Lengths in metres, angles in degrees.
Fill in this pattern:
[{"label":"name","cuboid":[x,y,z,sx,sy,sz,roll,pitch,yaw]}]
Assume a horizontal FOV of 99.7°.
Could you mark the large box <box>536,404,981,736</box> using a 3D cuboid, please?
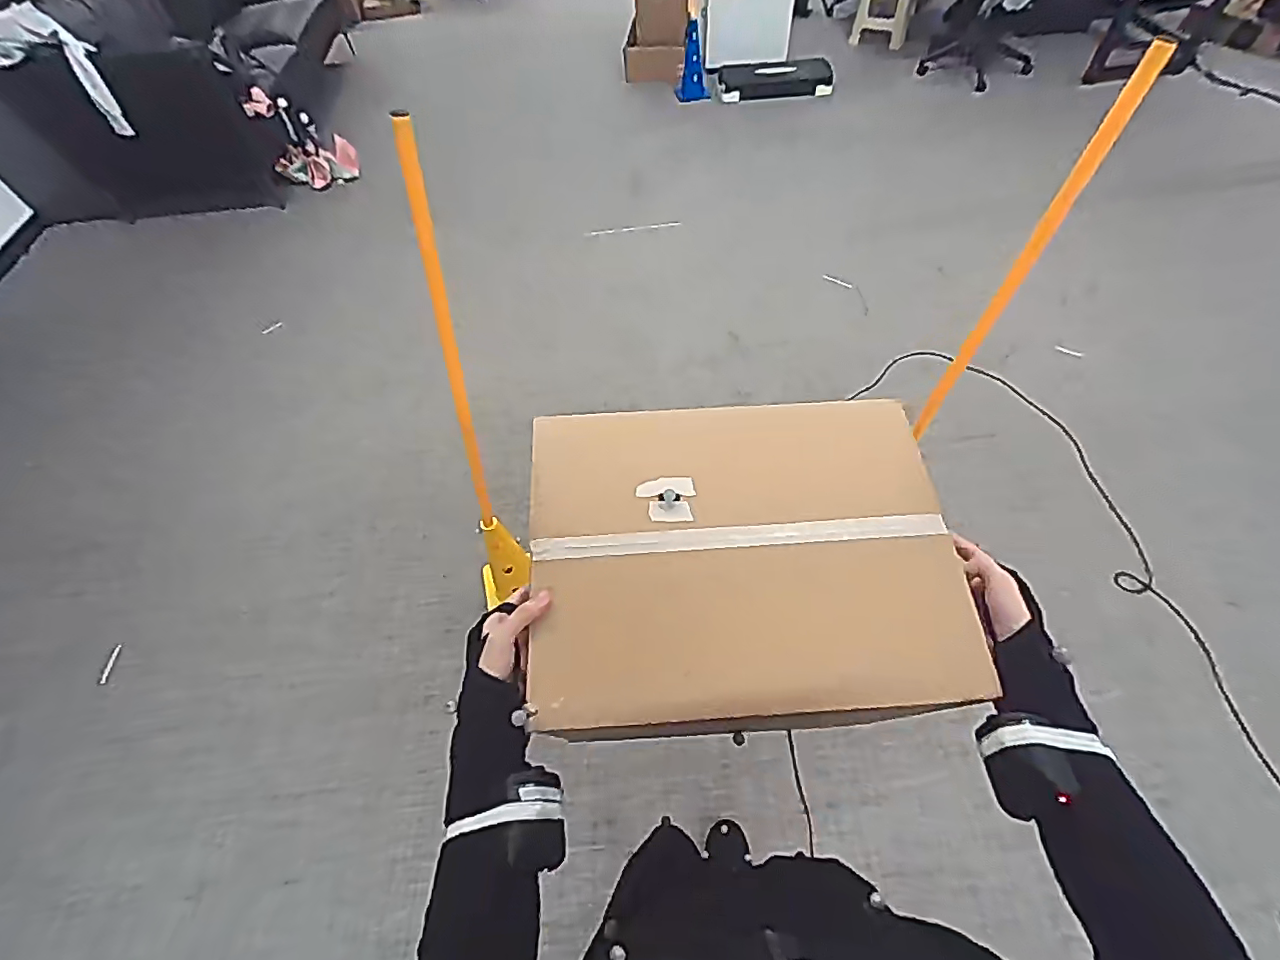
[{"label":"large box","cuboid":[0.100,0.131,0.673,0.408,0.320,0.320,-4,62,-1]}]
